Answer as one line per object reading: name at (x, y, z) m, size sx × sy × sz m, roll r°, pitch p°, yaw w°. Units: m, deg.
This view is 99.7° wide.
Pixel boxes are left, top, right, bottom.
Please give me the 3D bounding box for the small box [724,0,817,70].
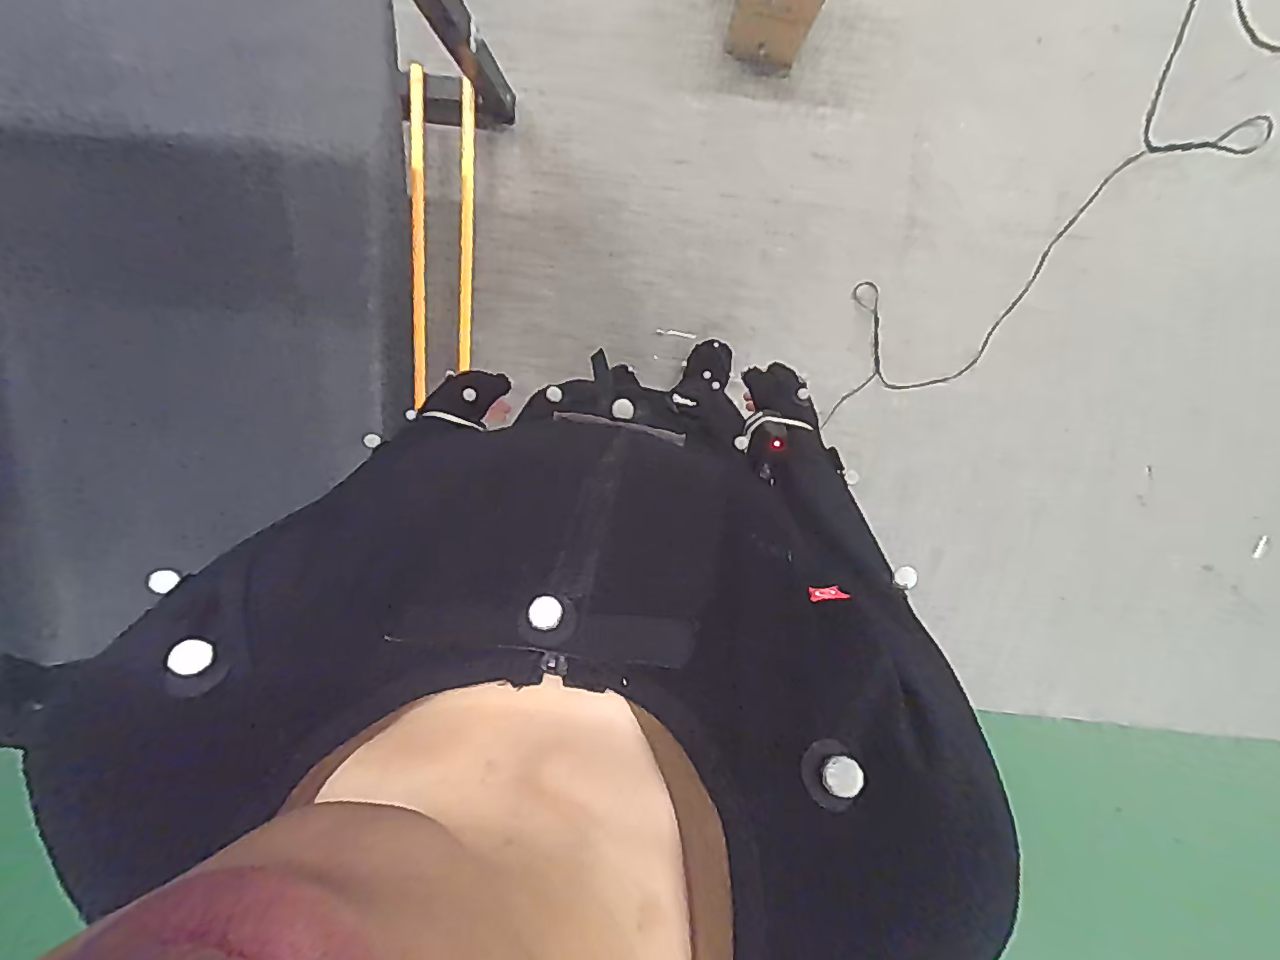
small box at (0.283, -1.023, 1.147) m, size 0.168 × 0.176 × 0.179 m, roll 12°, pitch 105°, yaw -1°
